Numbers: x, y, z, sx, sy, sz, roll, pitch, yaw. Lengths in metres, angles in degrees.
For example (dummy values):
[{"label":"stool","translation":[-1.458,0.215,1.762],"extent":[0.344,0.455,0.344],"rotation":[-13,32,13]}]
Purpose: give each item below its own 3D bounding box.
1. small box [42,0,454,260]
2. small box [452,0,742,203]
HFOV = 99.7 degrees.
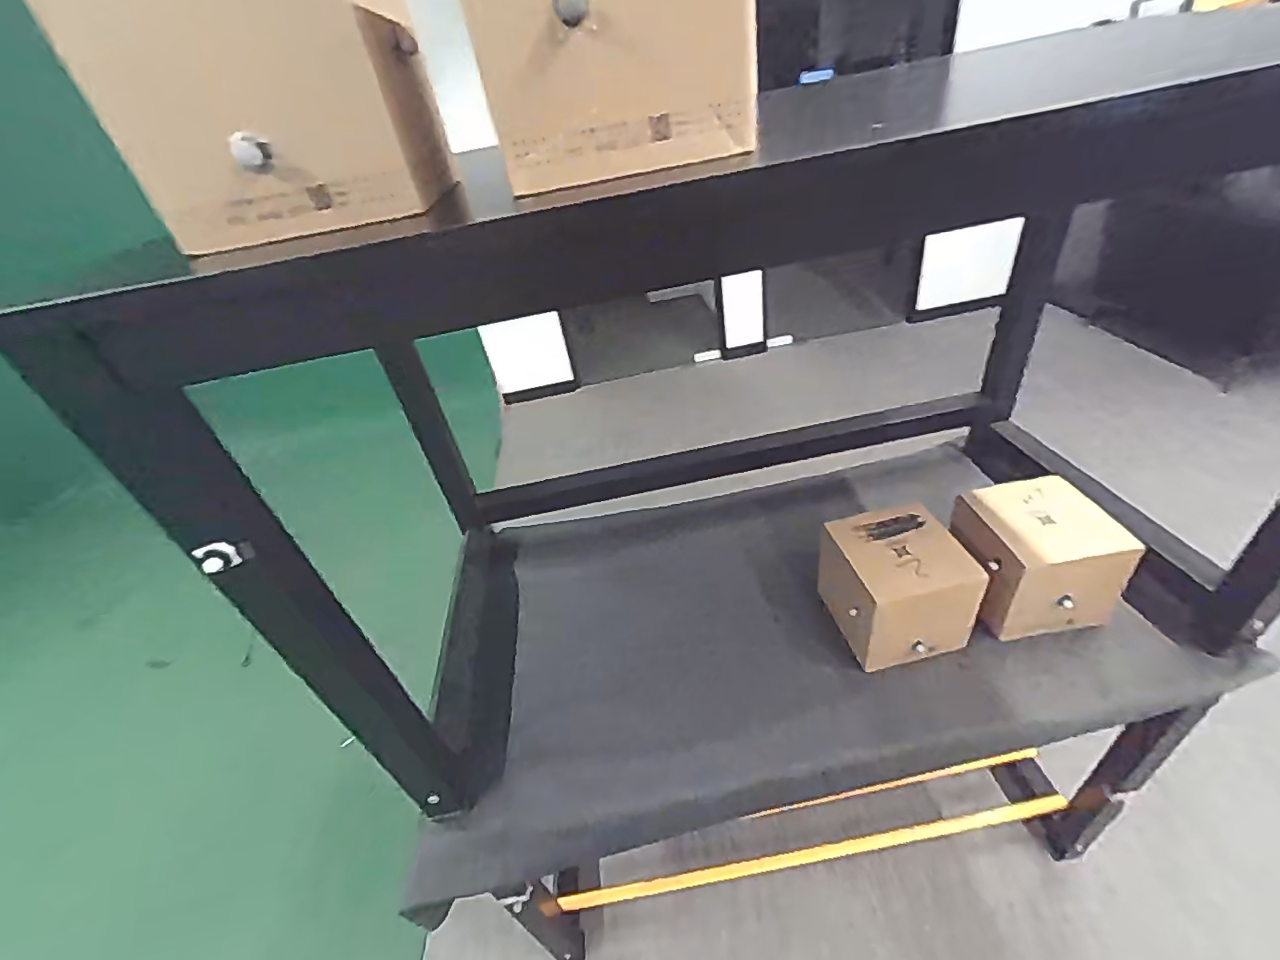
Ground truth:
[{"label":"small box","translation":[-0.252,-0.275,0.395],"extent":[0.168,0.176,0.179],"rotation":[-11,37,0]},{"label":"small box","translation":[-0.029,-0.310,0.385],"extent":[0.168,0.176,0.179],"rotation":[-11,36,1]}]
